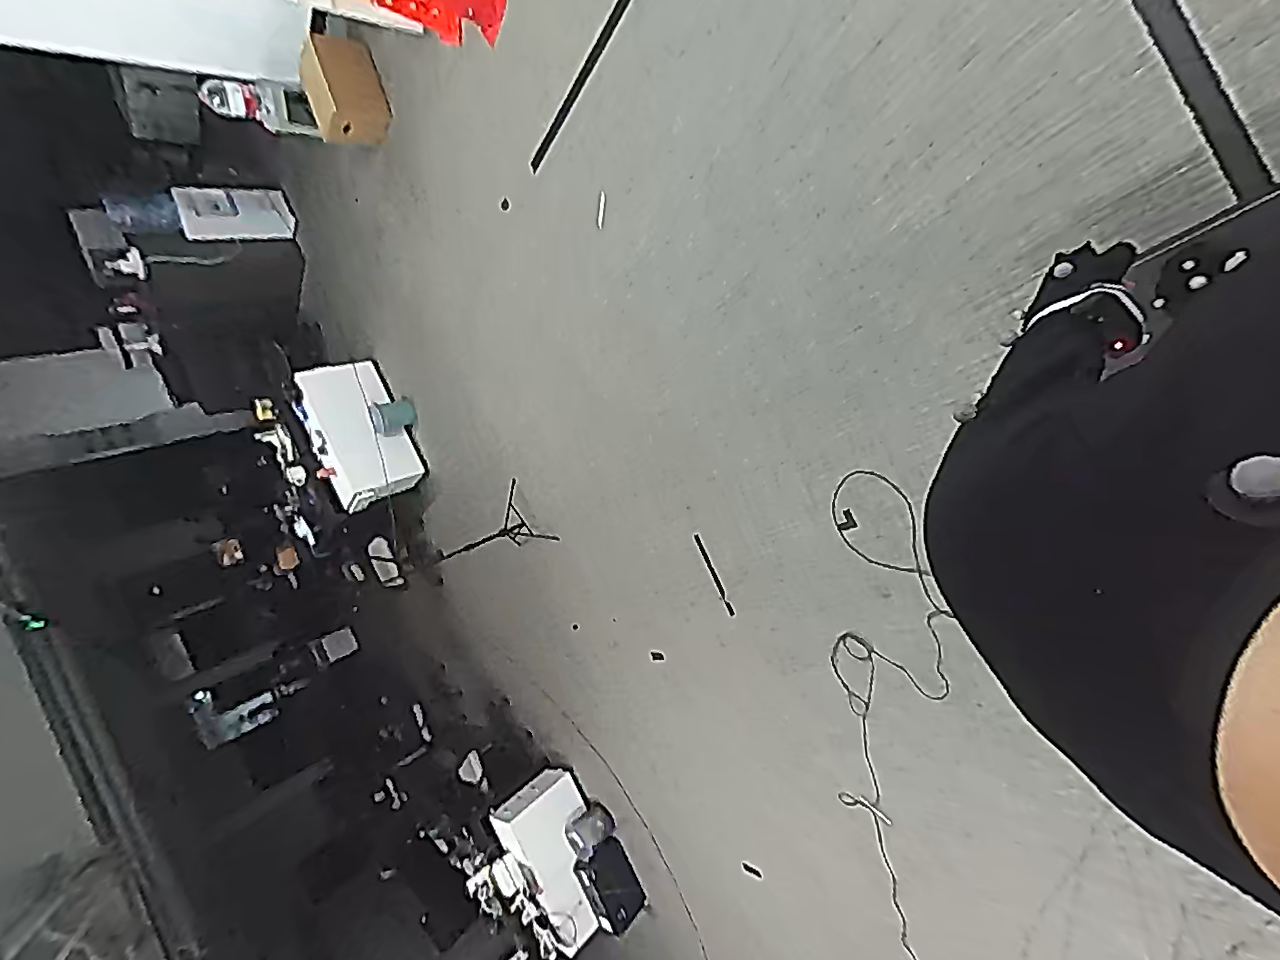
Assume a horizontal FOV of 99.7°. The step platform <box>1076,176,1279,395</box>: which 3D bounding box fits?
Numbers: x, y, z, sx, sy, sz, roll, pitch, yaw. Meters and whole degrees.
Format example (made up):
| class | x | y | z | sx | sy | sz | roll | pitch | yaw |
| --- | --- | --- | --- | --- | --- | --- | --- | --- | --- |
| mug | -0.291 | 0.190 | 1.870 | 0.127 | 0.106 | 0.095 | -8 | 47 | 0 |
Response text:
| class | x | y | z | sx | sy | sz | roll | pitch | yaw |
| --- | --- | --- | --- | --- | --- | --- | --- | --- | --- |
| step platform | 1.211 | -0.421 | 0.950 | 0.684 | 0.204 | 0.286 | -32 | 84 | 48 |
